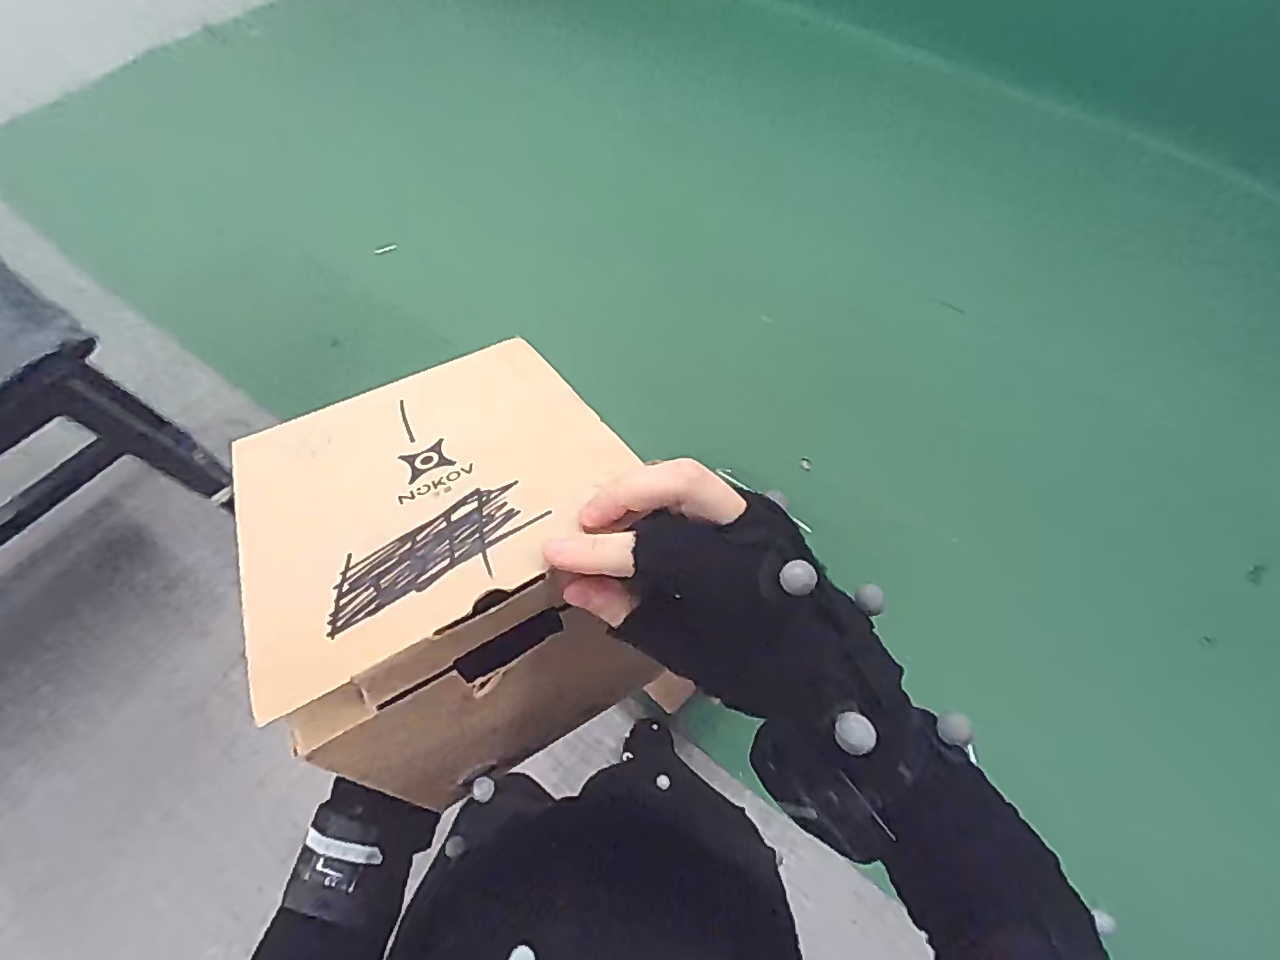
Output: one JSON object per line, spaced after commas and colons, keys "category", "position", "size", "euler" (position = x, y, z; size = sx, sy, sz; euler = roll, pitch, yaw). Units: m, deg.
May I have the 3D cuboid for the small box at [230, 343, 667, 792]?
{"category": "small box", "position": [-0.096, 0.057, 0.322], "size": [0.168, 0.176, 0.179], "euler": [-27, 56, -18]}
